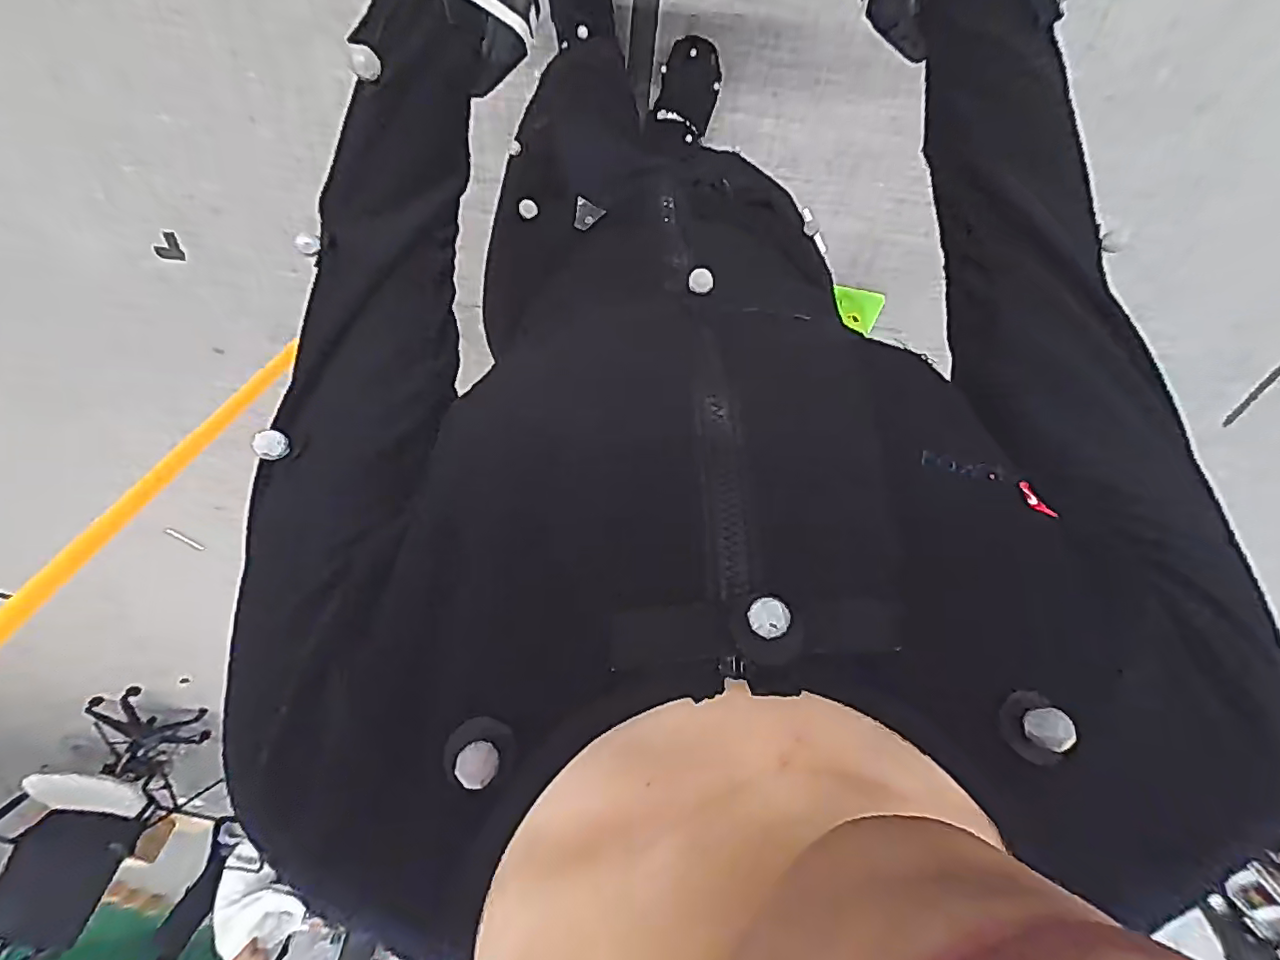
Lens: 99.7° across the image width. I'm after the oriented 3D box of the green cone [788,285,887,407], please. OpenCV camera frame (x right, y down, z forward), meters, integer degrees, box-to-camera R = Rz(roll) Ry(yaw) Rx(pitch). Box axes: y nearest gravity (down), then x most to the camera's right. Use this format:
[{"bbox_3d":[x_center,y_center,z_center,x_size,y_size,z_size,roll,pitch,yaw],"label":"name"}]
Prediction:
[{"bbox_3d":[0.512,-0.293,1.305,0.202,0.368,0.200,7,132,-7],"label":"green cone"}]
